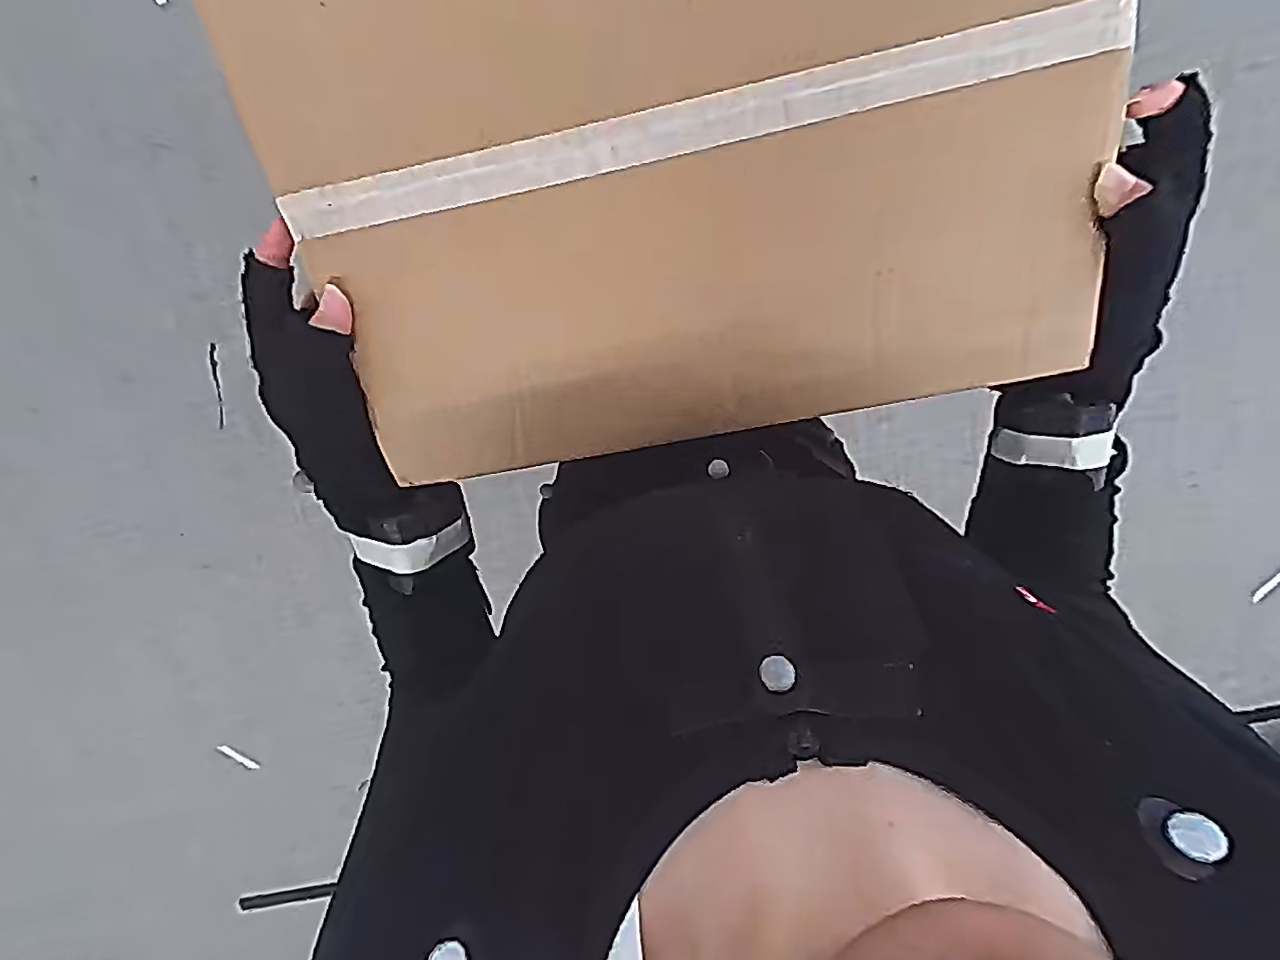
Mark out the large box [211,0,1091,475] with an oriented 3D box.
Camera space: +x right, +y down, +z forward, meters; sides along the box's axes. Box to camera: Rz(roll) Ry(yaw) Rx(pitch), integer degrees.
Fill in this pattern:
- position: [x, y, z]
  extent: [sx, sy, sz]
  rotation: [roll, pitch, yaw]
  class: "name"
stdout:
- position: [0.016, -0.236, 0.405]
  extent: [0.408, 0.320, 0.320]
  rotation: [-10, 113, 5]
  class: "large box"
